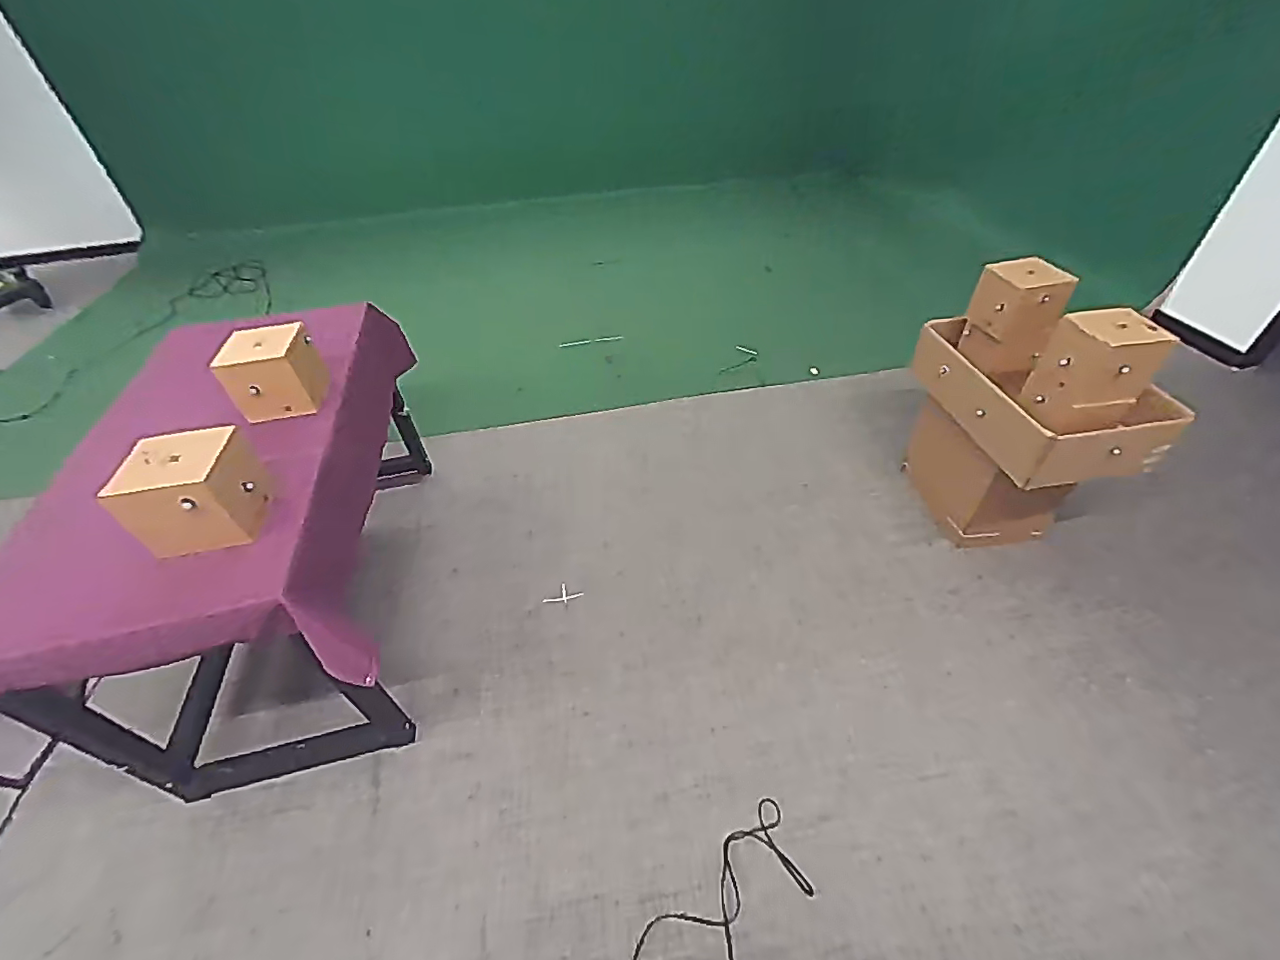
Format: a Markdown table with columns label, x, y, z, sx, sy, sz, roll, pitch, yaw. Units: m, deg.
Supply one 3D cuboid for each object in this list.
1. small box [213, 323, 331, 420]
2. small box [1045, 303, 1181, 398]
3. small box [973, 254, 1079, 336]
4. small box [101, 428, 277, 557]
| label | x | y | z | sx | sy | sz | roll | pitch | yaw |
| --- | --- | --- | --- | --- | --- | --- | --- | --- | --- |
| small box | -0.905 | -0.264 | 1.350 | 0.168 | 0.176 | 0.179 | -11 | 44 | -6 |
| small box | 1.166 | -0.321 | 1.358 | 0.179 | 0.176 | 0.168 | -7 | 45 | -2 |
| small box | 1.119 | -0.542 | 1.592 | 0.179 | 0.176 | 0.168 | -11 | 45 | -7 |
| small box | -0.846 | 0.026 | 1.041 | 0.179 | 0.176 | 0.168 | -10 | 43 | -5 |
